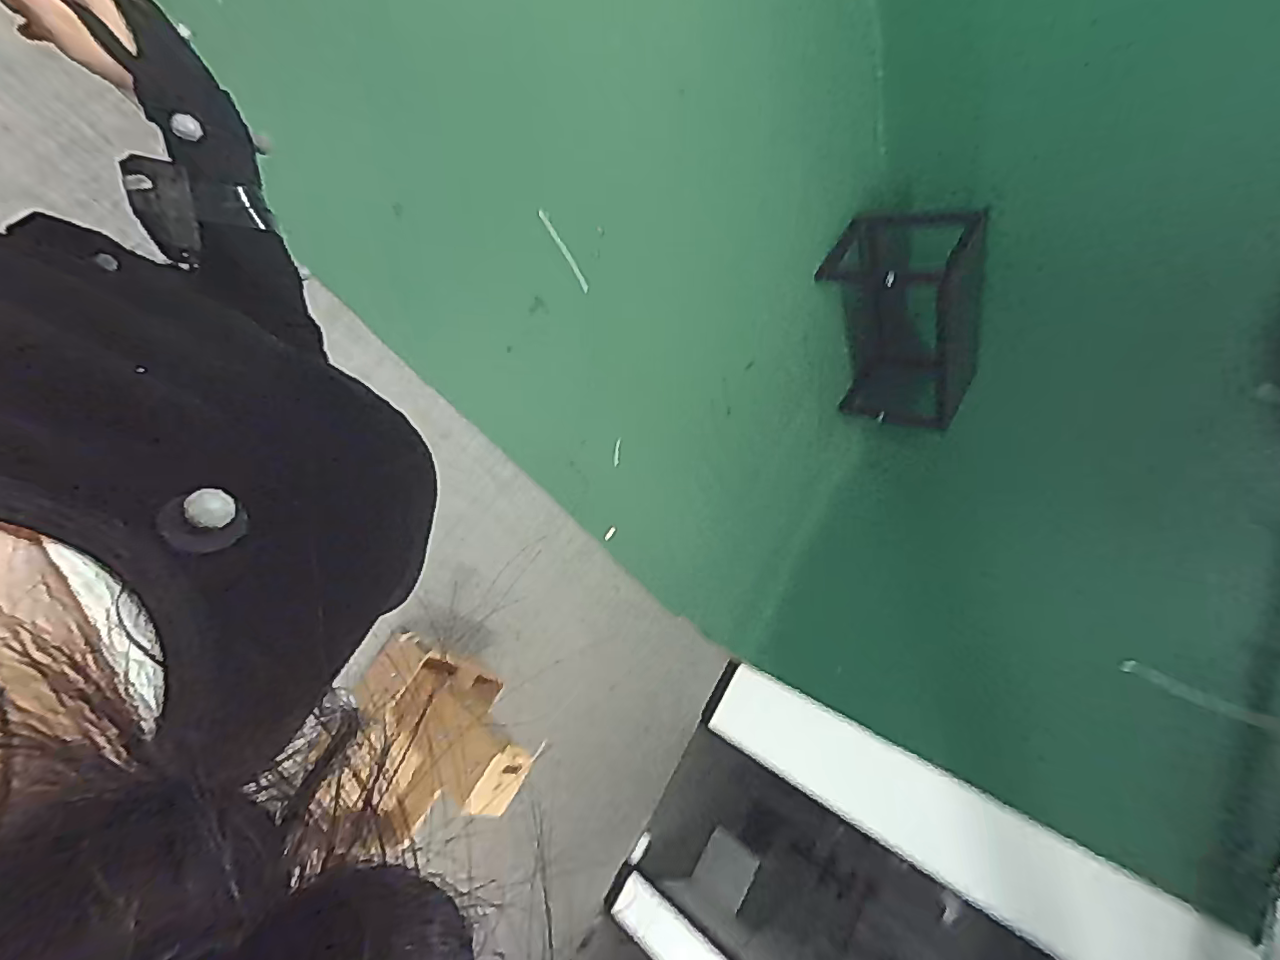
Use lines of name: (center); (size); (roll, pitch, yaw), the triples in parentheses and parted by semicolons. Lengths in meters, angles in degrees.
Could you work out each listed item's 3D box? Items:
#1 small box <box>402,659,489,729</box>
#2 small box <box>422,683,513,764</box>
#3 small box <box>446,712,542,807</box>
small box: (-0.645, 0.717, 1.785); (0.168, 0.176, 0.179); (-58, 139, -11)
small box: (-0.536, 0.756, 1.670); (0.179, 0.176, 0.168); (-58, 137, -12)
small box: (-0.425, 0.802, 1.559); (0.179, 0.176, 0.168); (-57, 137, -12)
